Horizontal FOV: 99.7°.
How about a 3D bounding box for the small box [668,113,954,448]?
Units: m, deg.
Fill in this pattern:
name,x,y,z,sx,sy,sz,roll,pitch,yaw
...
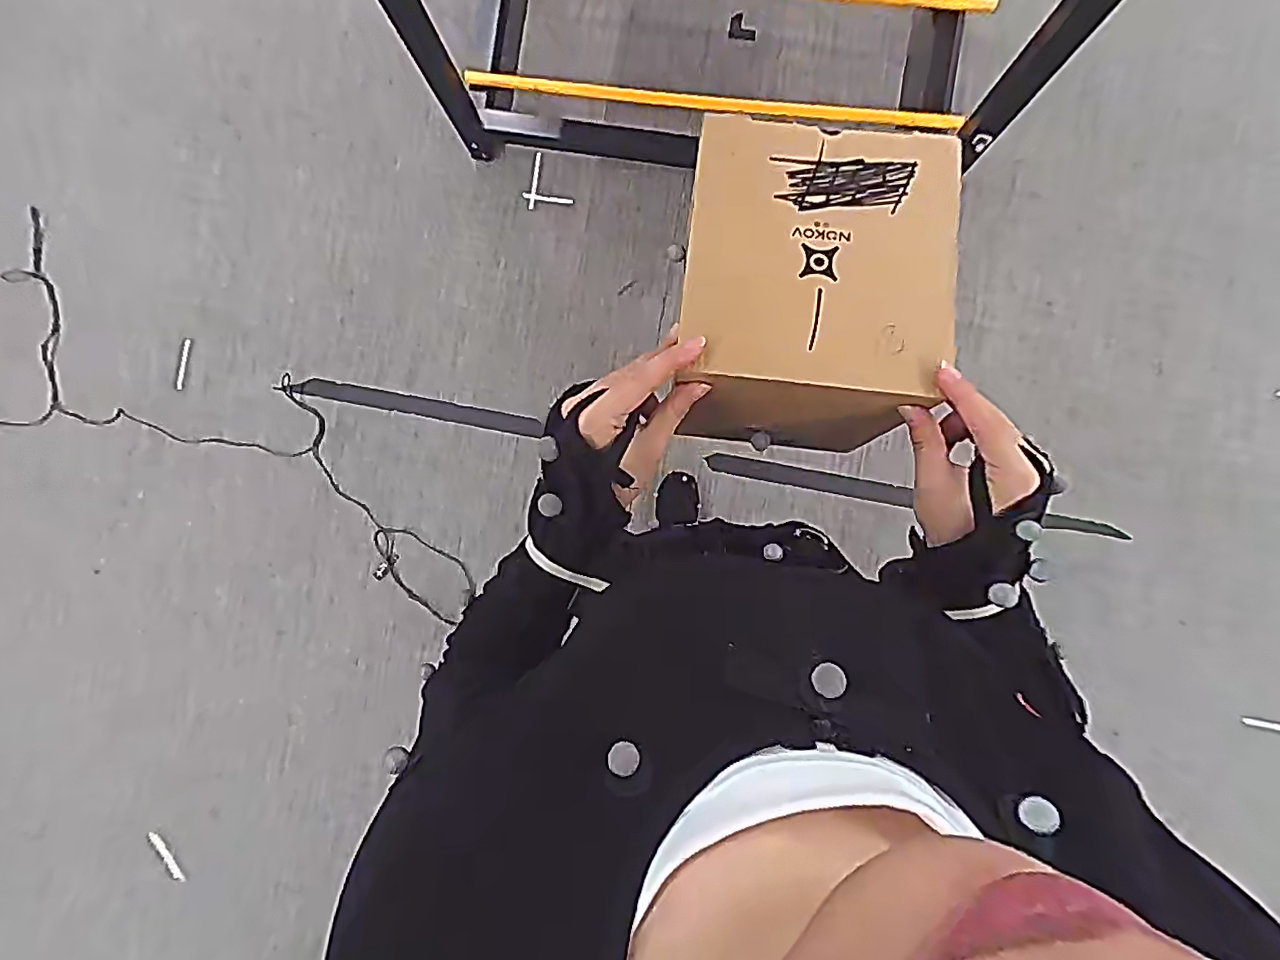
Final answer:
name,x,y,z,sx,sy,sz,roll,pitch,yaw
small box,0.112,-0.134,0.417,0.168,0.176,0.179,6,82,2
